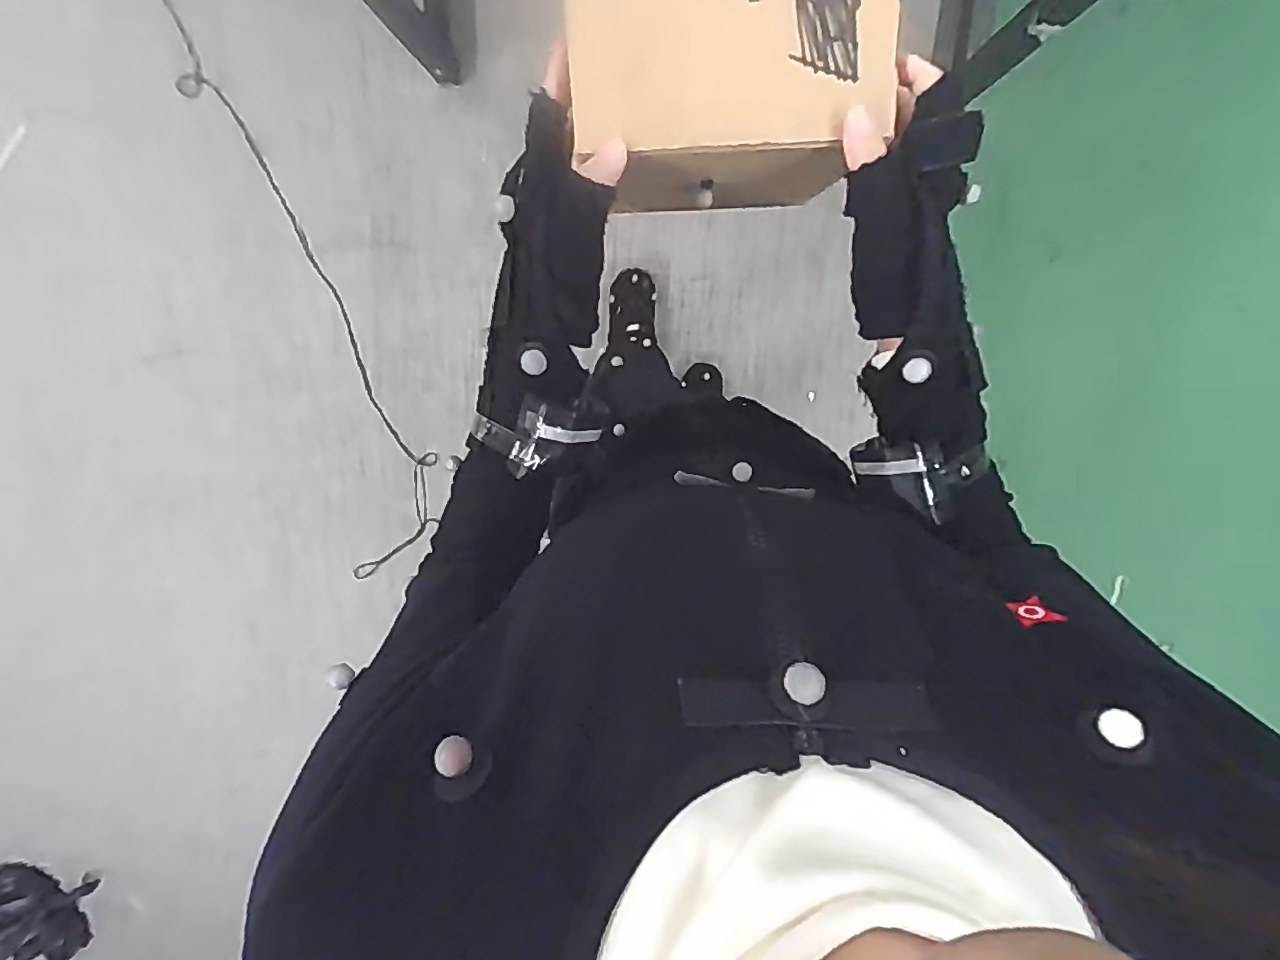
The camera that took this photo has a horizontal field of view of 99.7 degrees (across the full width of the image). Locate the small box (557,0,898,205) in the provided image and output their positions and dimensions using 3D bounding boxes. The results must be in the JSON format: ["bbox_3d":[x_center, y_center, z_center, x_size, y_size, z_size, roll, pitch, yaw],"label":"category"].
[{"bbox_3d":[0.045,-0.285,0.347,0.179,0.176,0.168,-2,106,3],"label":"small box"}]
